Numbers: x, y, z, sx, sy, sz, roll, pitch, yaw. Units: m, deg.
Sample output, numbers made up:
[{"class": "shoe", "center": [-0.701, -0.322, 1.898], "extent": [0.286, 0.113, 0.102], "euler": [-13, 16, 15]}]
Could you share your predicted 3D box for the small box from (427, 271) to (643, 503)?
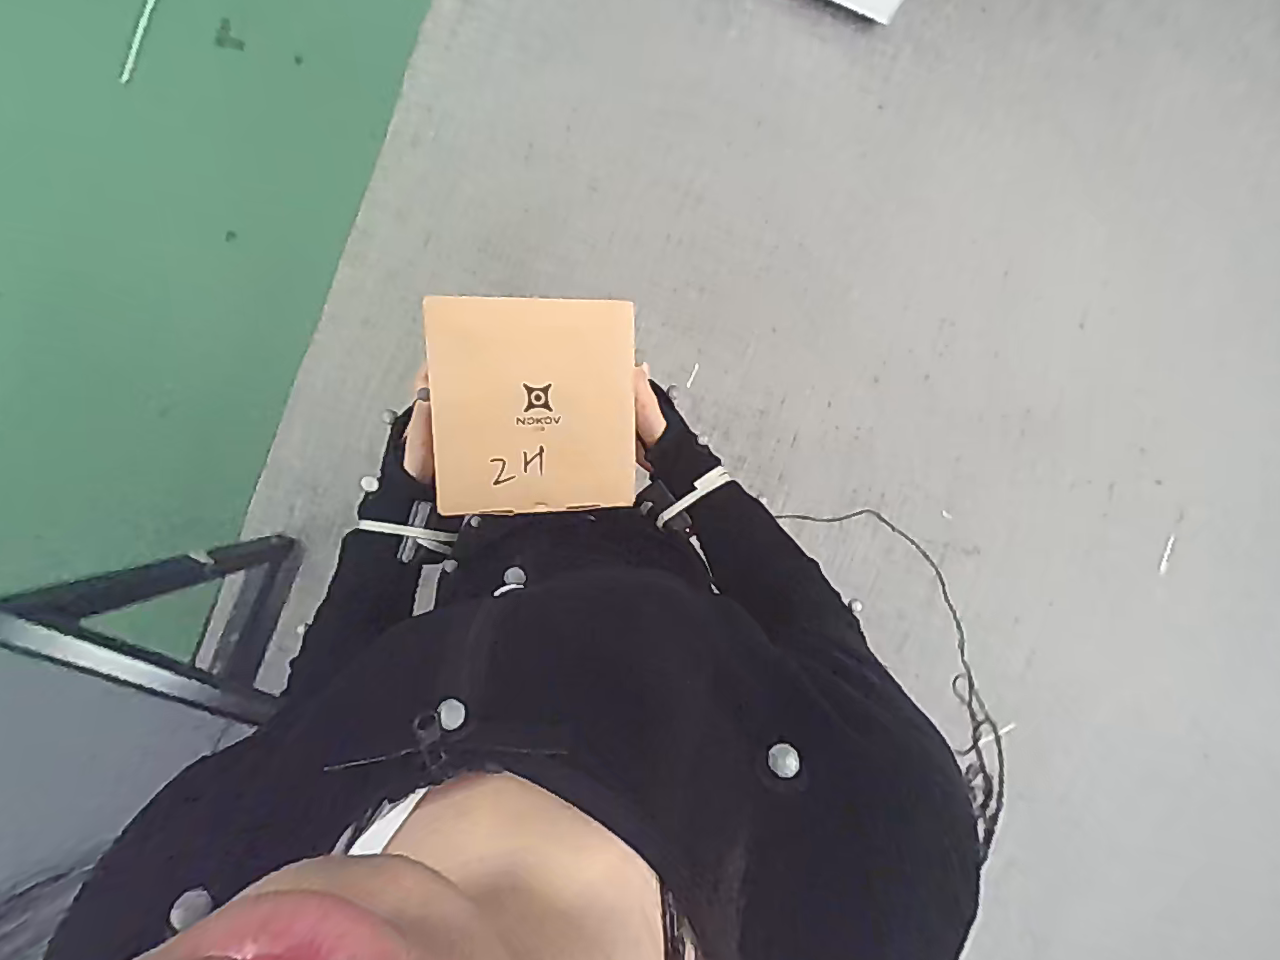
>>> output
[{"class": "small box", "center": [-0.097, -0.080, 0.501], "extent": [0.168, 0.176, 0.179], "euler": [-1, 100, -12]}]
